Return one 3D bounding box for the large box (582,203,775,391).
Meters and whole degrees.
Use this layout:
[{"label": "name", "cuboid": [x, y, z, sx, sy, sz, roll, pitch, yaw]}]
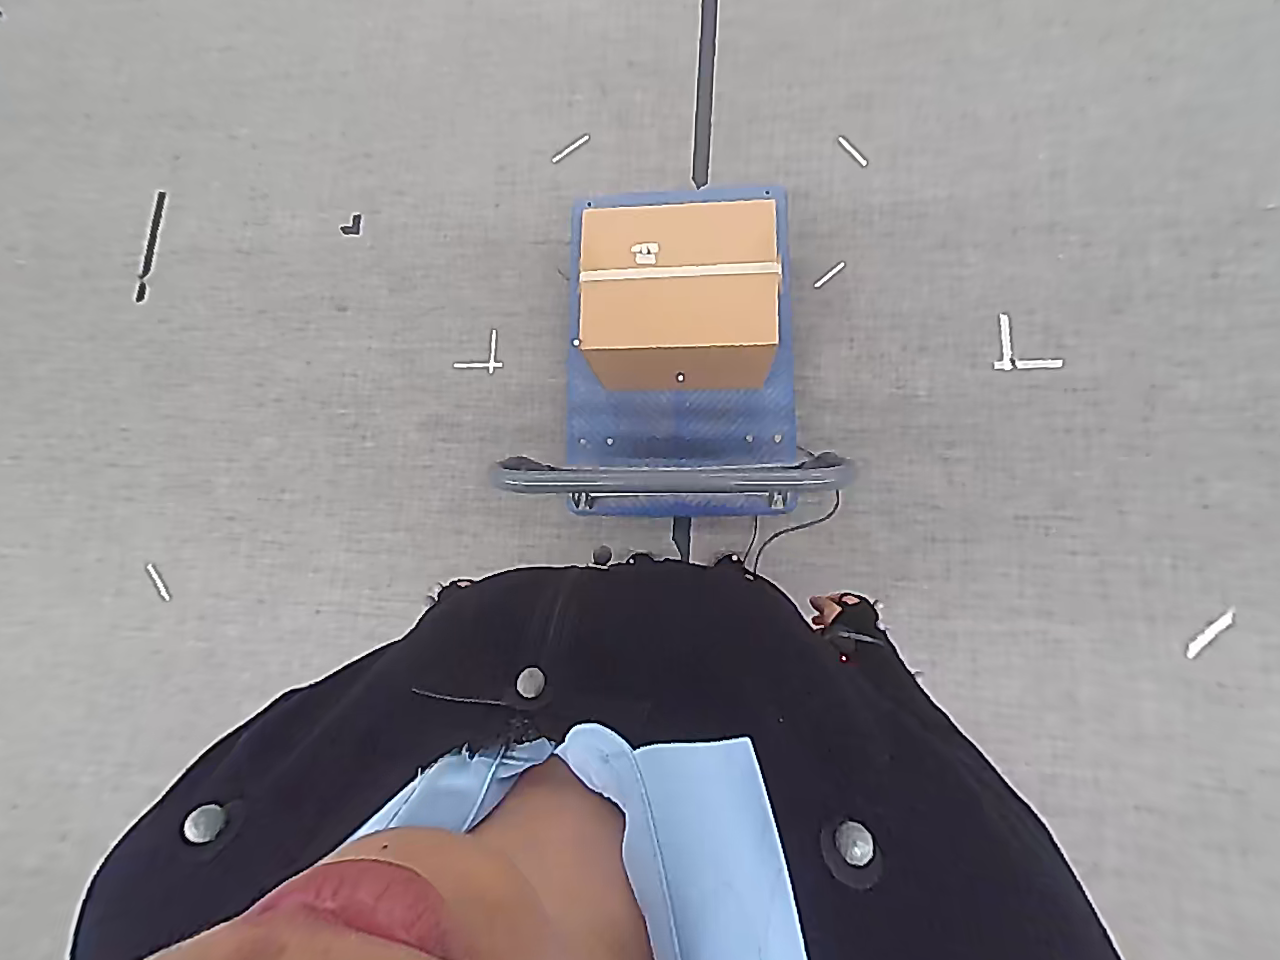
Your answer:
[{"label": "large box", "cuboid": [0.095, -0.404, 1.276, 0.408, 0.320, 0.320, 0, 81, 7]}]
